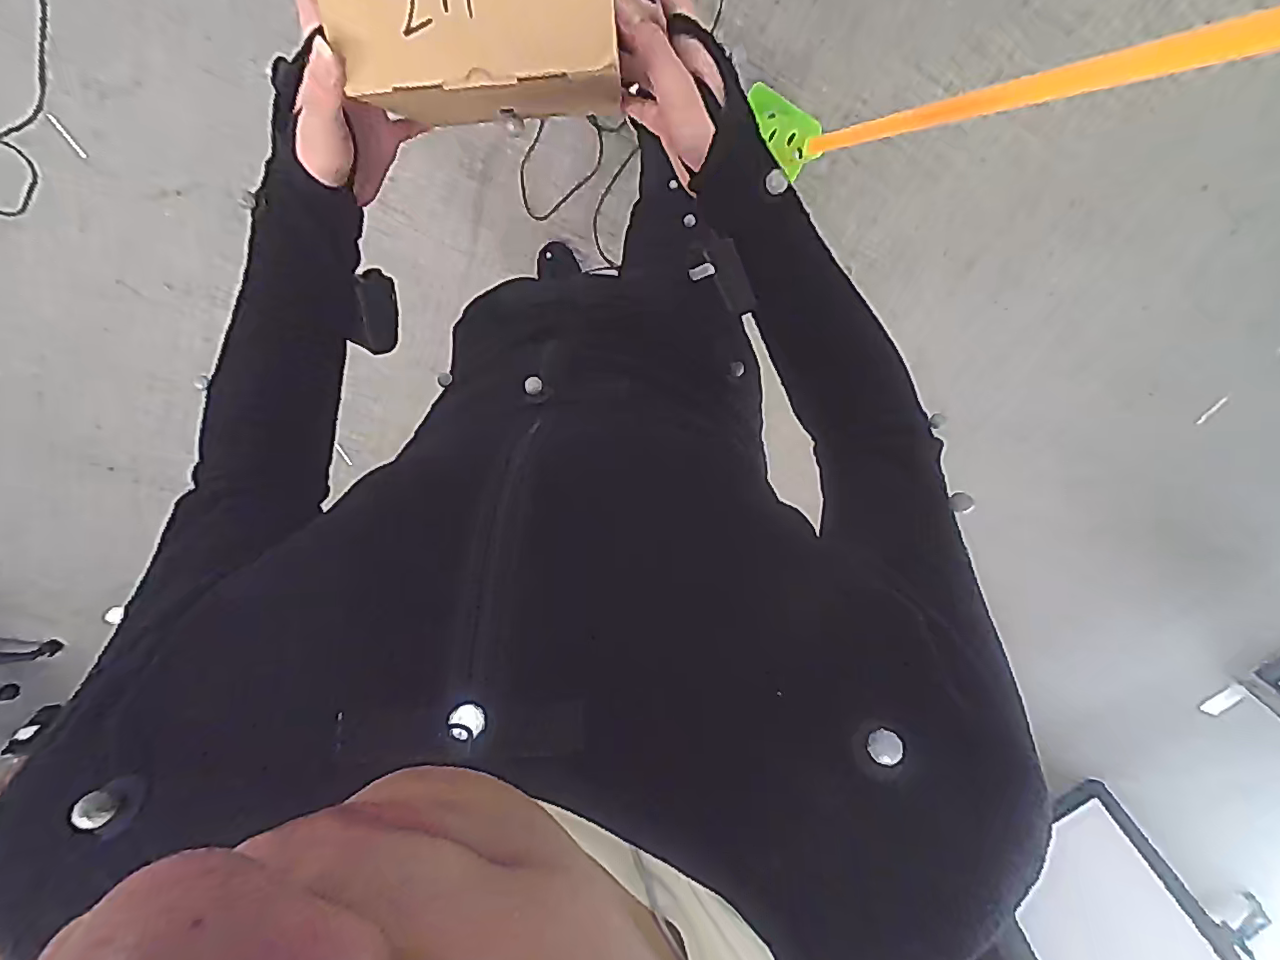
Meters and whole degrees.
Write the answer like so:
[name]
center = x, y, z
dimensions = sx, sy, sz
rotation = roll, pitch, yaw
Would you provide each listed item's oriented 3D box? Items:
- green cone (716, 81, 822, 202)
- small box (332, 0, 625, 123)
[green cone]
center = 0.316, -0.720, 1.152
dimensions = 0.202, 0.368, 0.200
rotation = 23, 117, -15
[small box]
center = -0.098, -0.353, 0.356
dimensions = 0.168, 0.176, 0.179
rotation = -4, 119, 0
